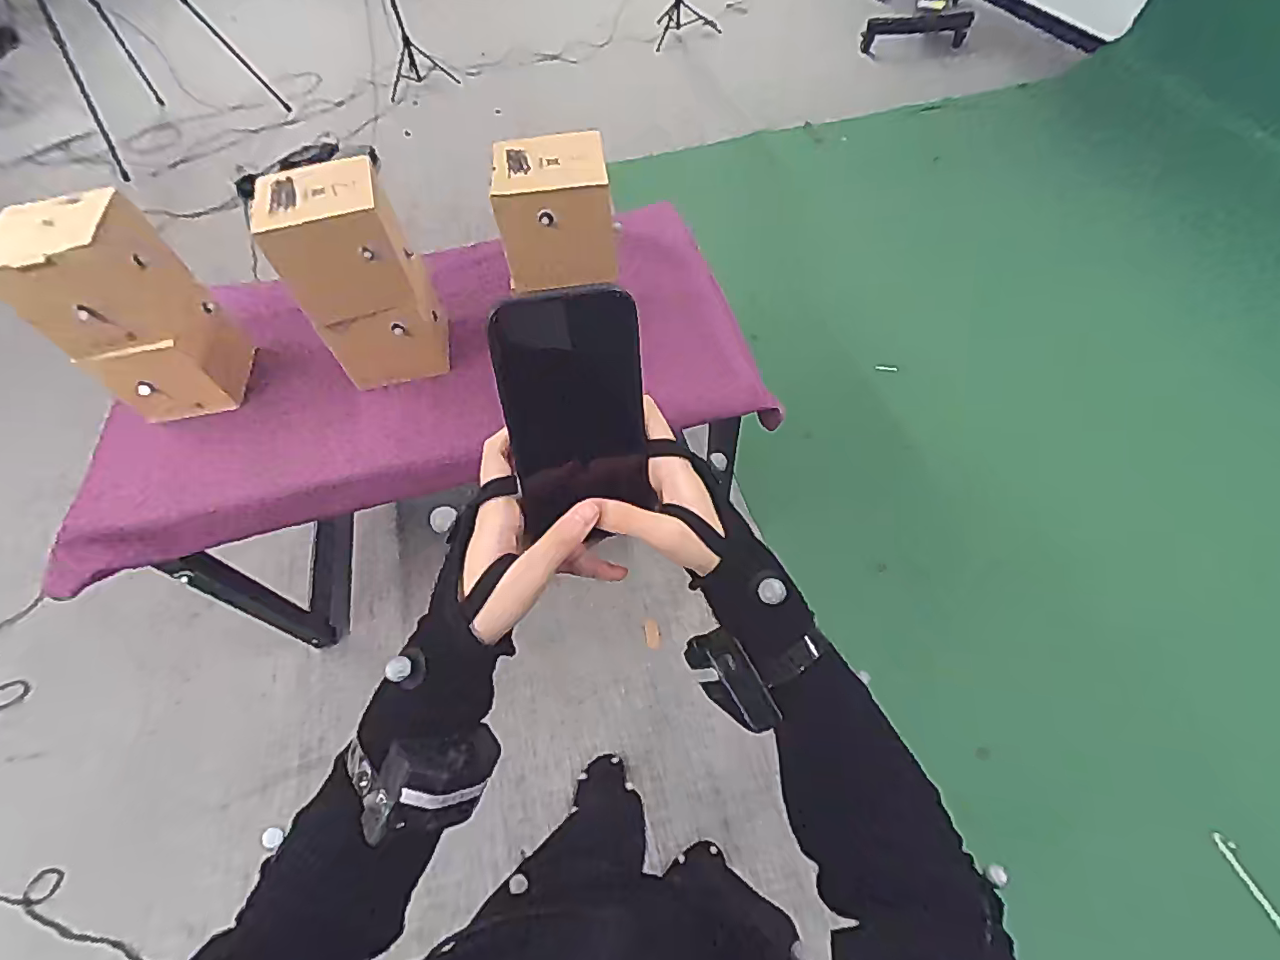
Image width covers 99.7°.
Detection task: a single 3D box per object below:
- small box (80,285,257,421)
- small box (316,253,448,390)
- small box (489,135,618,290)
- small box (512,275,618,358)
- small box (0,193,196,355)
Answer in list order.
[{"bbox_3d":[-0.857,-0.227,1.008,0.168,0.176,0.179,-12,57,-4],"label":"small box"},{"bbox_3d":[-0.472,-0.295,1.021,0.179,0.176,0.168,-13,57,-4],"label":"small box"},{"bbox_3d":[-0.136,-0.435,0.894,0.179,0.176,0.168,-7,56,-1],"label":"small box"},{"bbox_3d":[-0.137,-0.356,1.038,0.179,0.176,0.168,-8,56,0],"label":"small box"},{"bbox_3d":[-0.869,-0.323,0.875,0.168,0.176,0.179,-16,58,-7],"label":"small box"}]
